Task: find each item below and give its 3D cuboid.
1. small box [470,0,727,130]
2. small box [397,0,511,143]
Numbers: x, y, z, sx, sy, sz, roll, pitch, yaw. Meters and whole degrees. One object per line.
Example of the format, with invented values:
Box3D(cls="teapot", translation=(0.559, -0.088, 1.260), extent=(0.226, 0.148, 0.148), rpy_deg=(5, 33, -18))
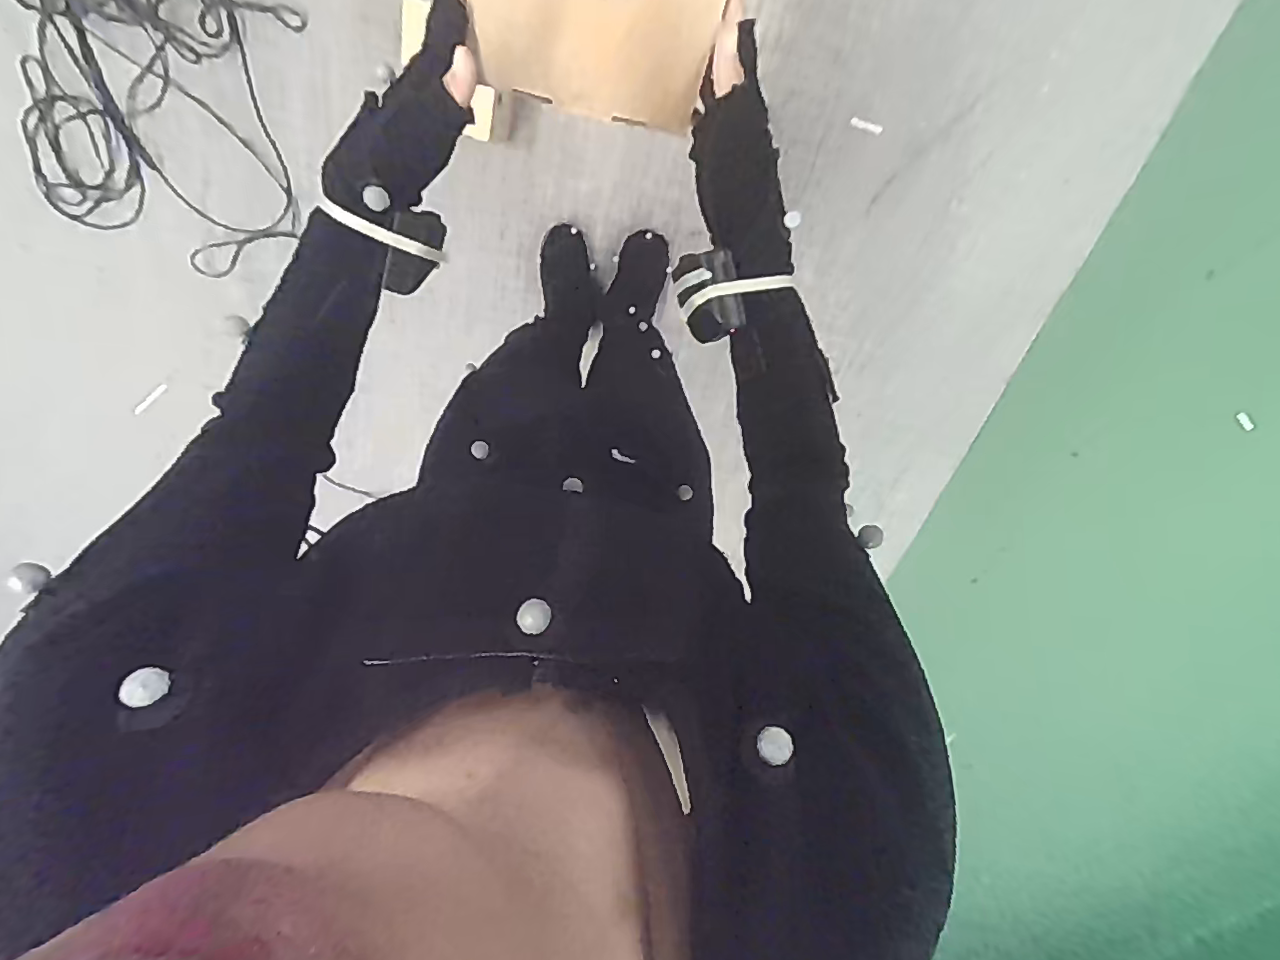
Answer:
Box3D(cls="small box", translation=(-0.030, -0.393, 0.381), extent=(0.168, 0.176, 0.179), rpy_deg=(3, 143, -17))
Box3D(cls="small box", translation=(-0.341, -0.756, 1.017), extent=(0.168, 0.176, 0.179), rpy_deg=(13, 120, -8))
